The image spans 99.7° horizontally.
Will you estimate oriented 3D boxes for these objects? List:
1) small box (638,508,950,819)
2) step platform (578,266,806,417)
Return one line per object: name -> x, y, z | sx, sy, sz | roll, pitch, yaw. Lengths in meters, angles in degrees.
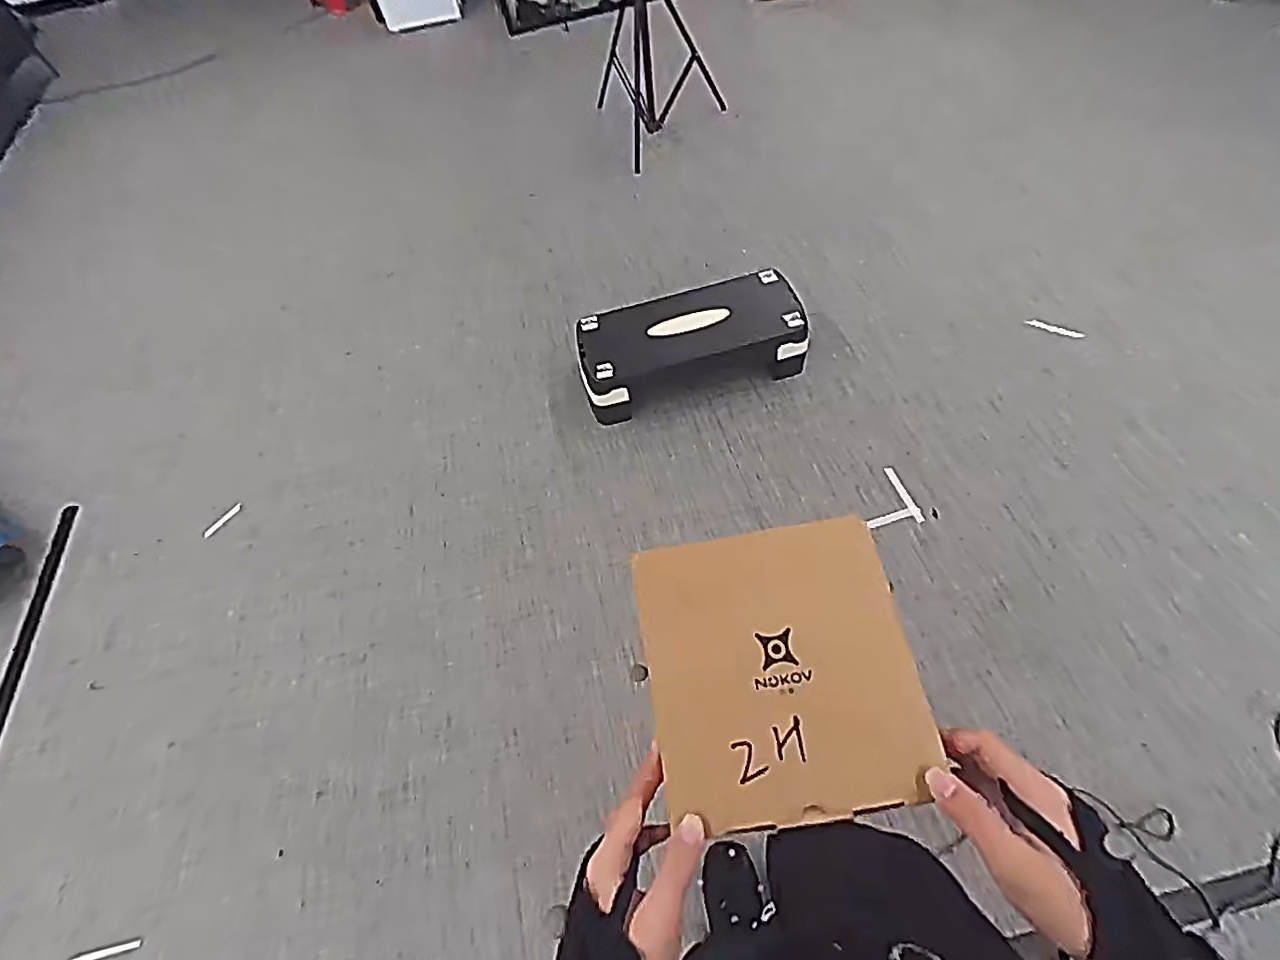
small box -> 0.095, 0.141, 0.420 | 0.168, 0.176, 0.179 | -10, 66, 2
step platform -> 0.154, -0.433, 1.680 | 0.684, 0.204, 0.286 | -16, 59, -2
